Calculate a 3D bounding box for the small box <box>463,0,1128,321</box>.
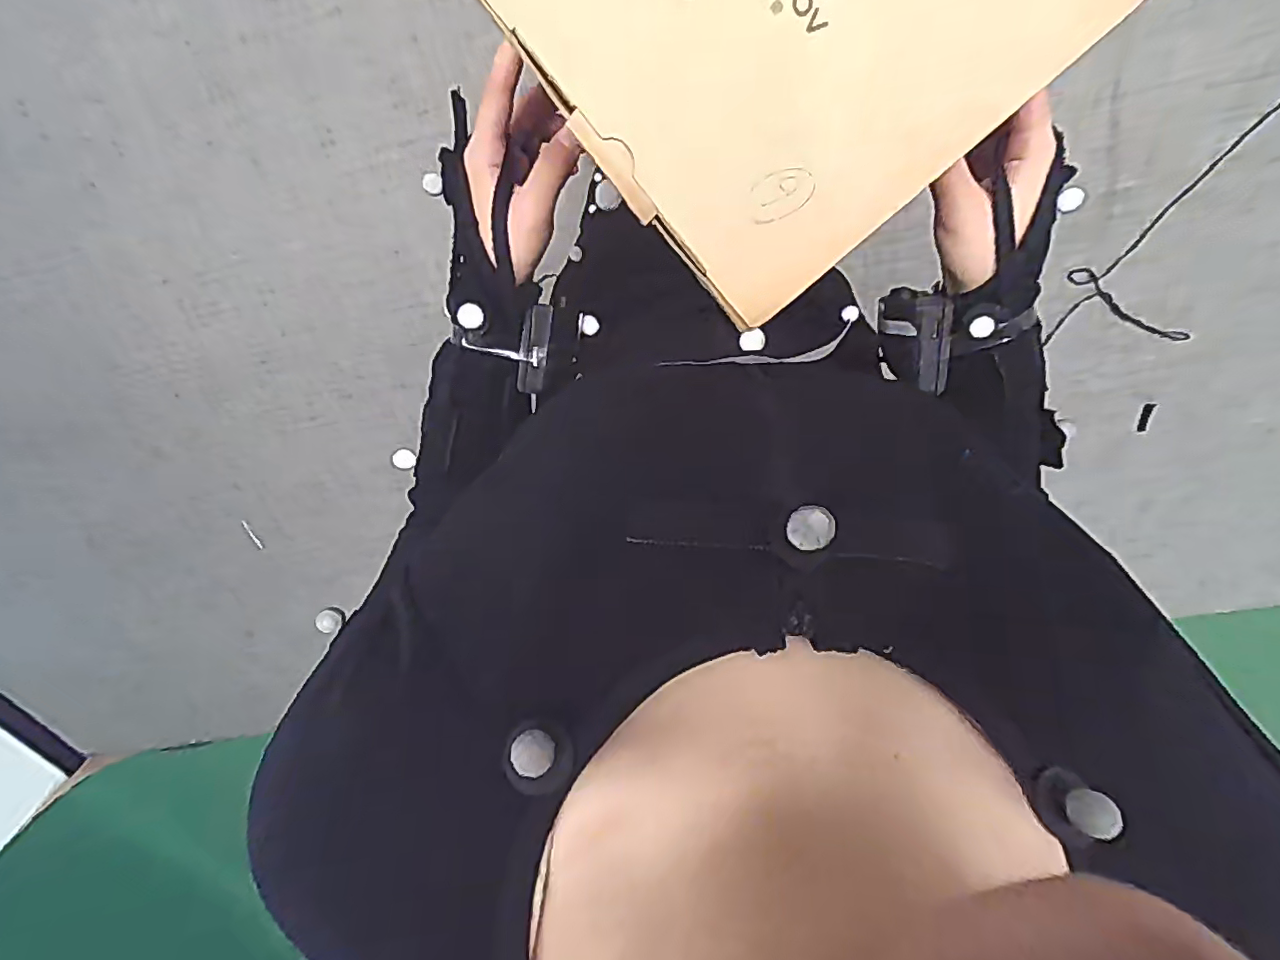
[{"bbox_3d":[0.053,-0.202,0.245,0.179,0.176,0.168,-38,108,18],"label":"small box"}]
